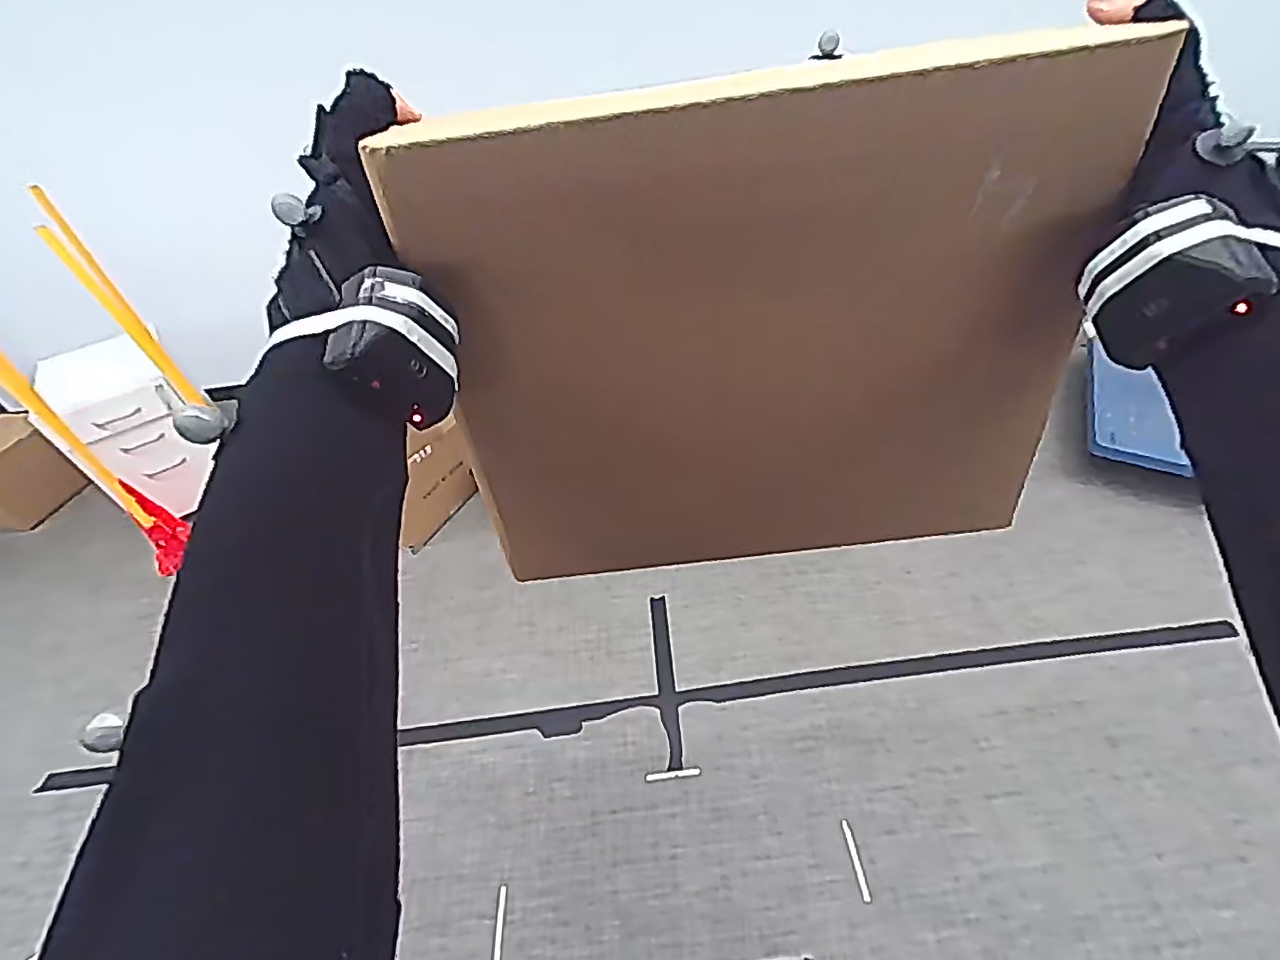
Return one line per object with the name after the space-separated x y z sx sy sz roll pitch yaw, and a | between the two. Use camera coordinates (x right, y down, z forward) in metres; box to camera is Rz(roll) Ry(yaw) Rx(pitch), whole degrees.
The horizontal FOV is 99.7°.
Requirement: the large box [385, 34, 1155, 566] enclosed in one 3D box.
0.070 -0.155 0.478 0.408 0.320 0.320 -6 35 1 | large box
